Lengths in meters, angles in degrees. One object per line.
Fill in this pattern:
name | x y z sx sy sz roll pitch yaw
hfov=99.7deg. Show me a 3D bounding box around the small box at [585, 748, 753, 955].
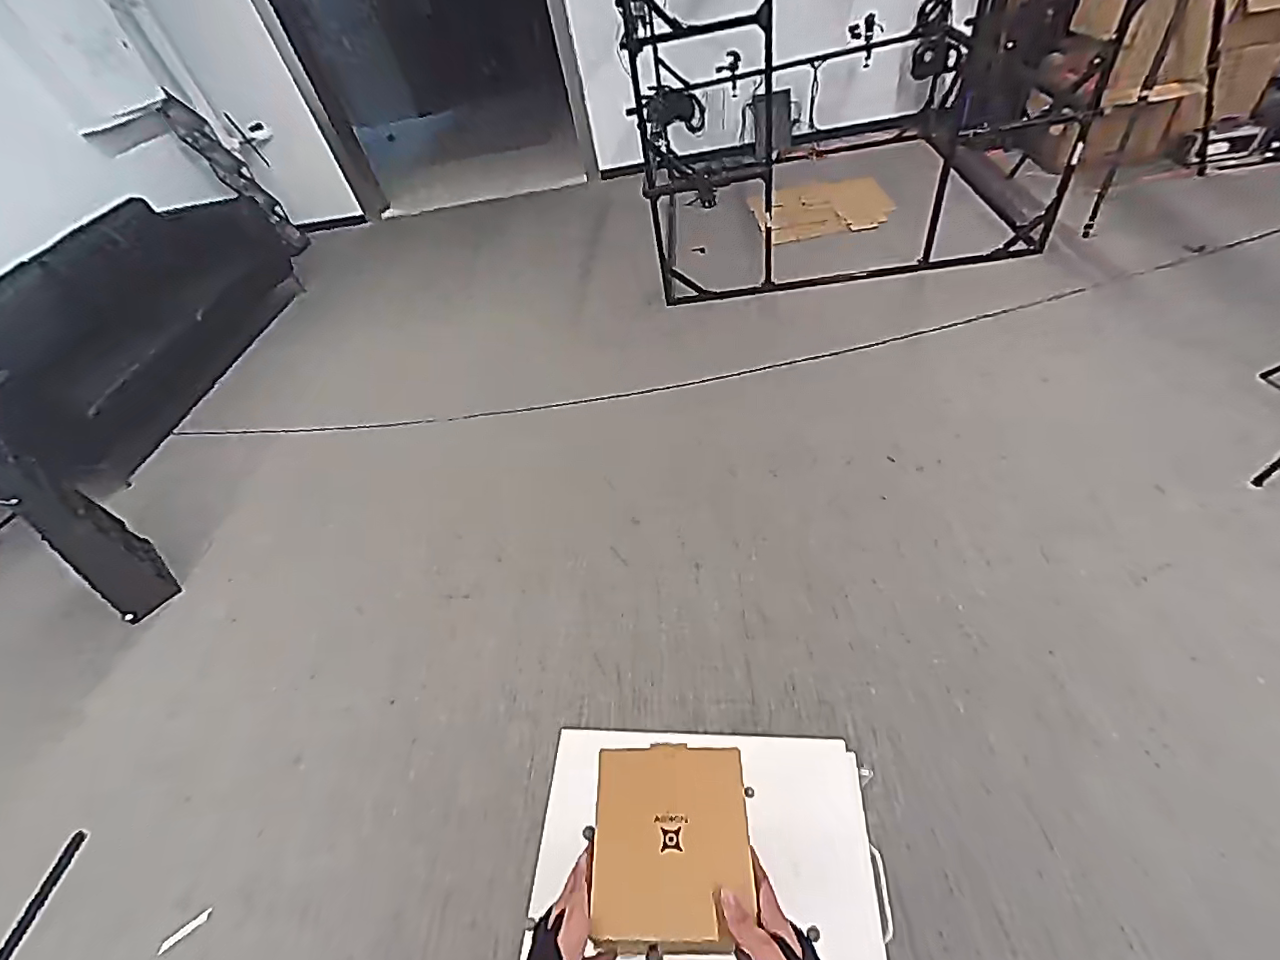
small box | 0.034 0.432 0.630 0.168 0.176 0.179 -1 44 2
